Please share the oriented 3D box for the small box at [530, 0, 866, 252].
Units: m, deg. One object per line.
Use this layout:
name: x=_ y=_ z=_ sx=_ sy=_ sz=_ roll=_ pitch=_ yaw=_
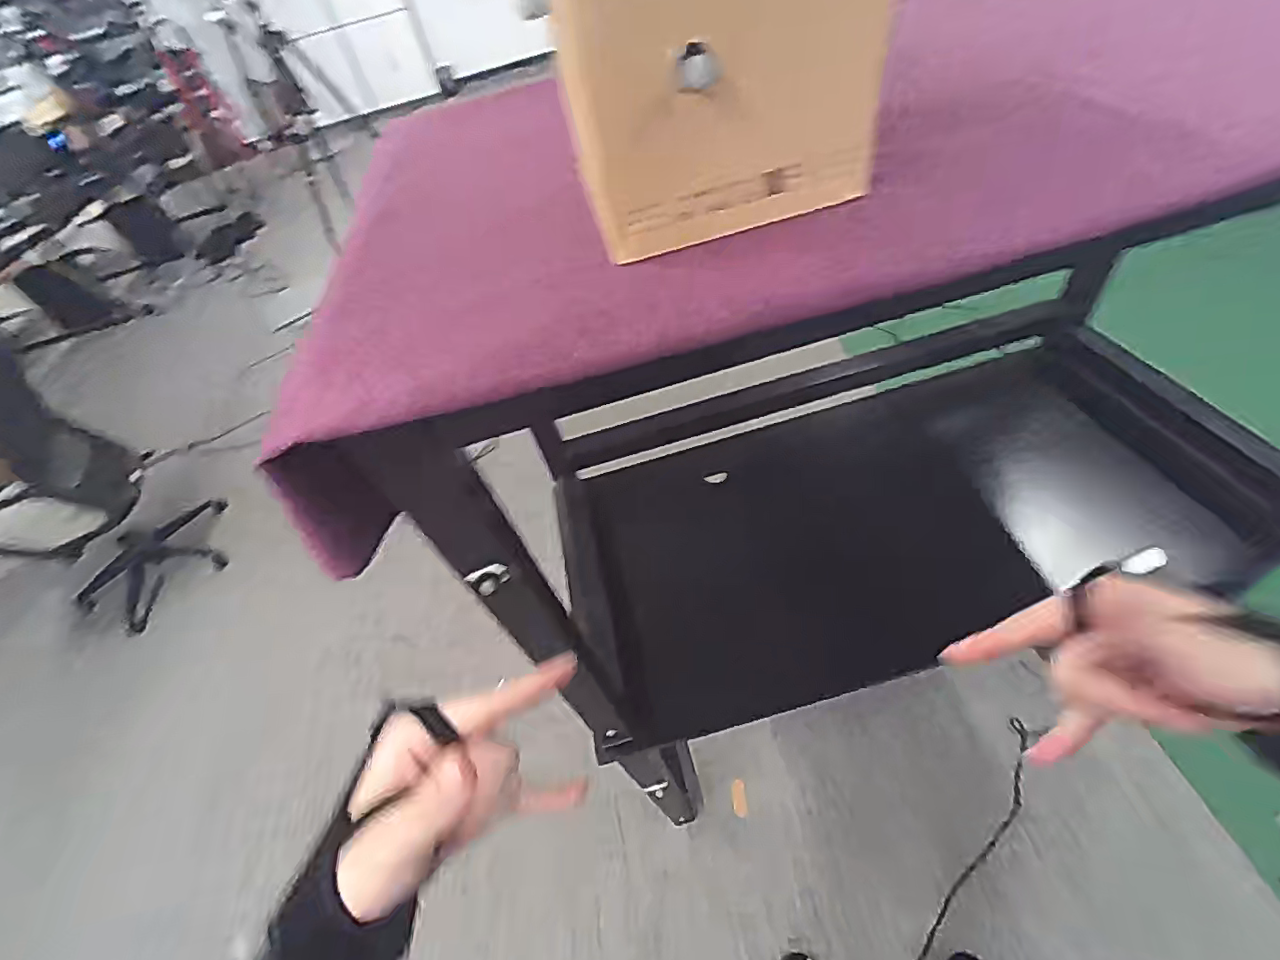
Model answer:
small box: x=0.029 y=-0.265 z=0.339 sx=0.168 sy=0.176 sz=0.179 roll=-17 pitch=46 yaw=0
